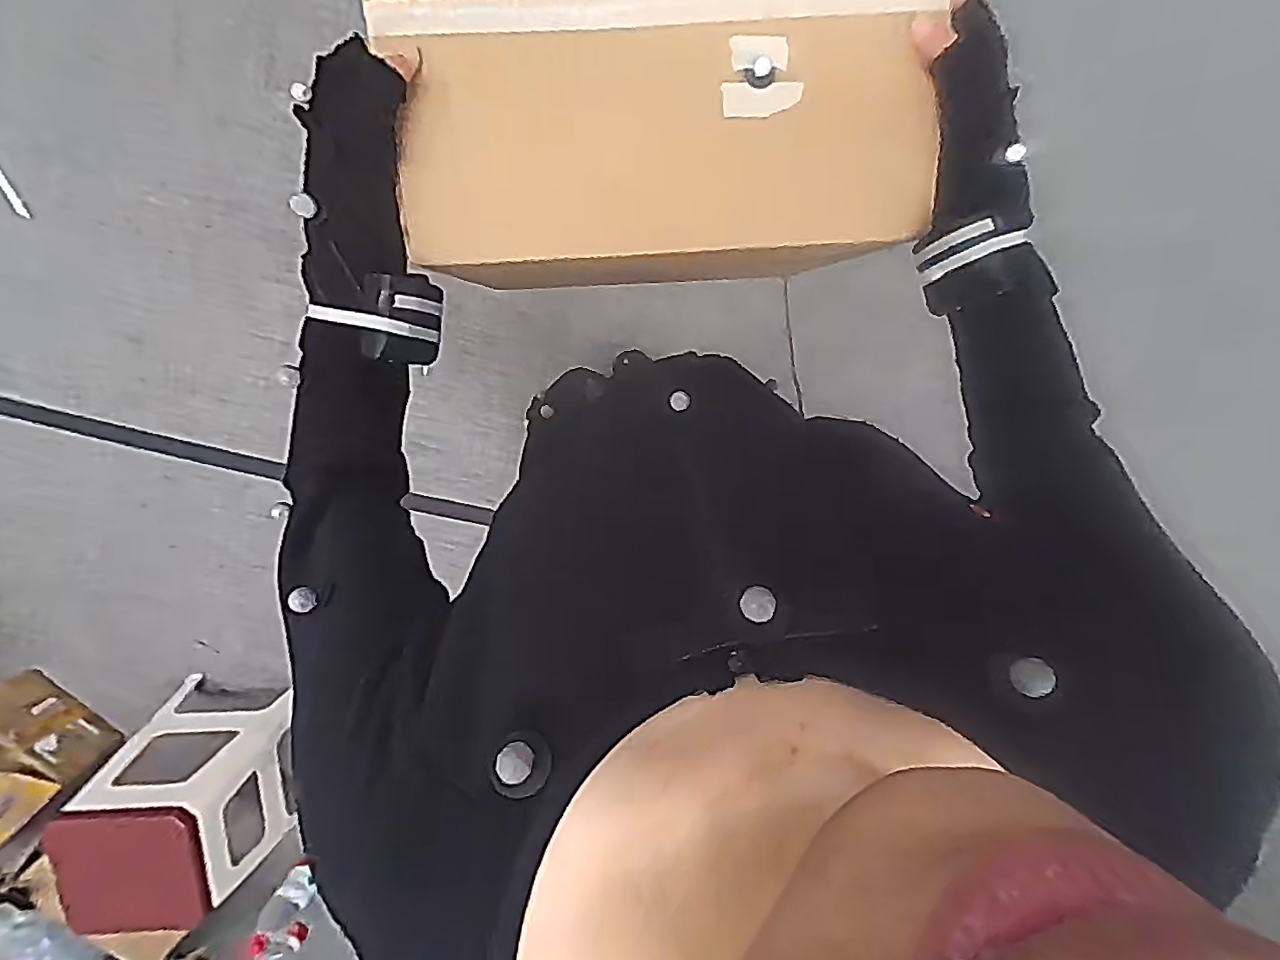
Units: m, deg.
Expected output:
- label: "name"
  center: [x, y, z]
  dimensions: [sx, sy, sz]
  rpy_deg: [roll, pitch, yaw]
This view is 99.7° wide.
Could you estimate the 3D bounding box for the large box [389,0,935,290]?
- label: "large box"
  center: [0.011, -0.375, 0.534]
  dimensions: [0.408, 0.320, 0.320]
  rpy_deg: [-4, 106, -3]
